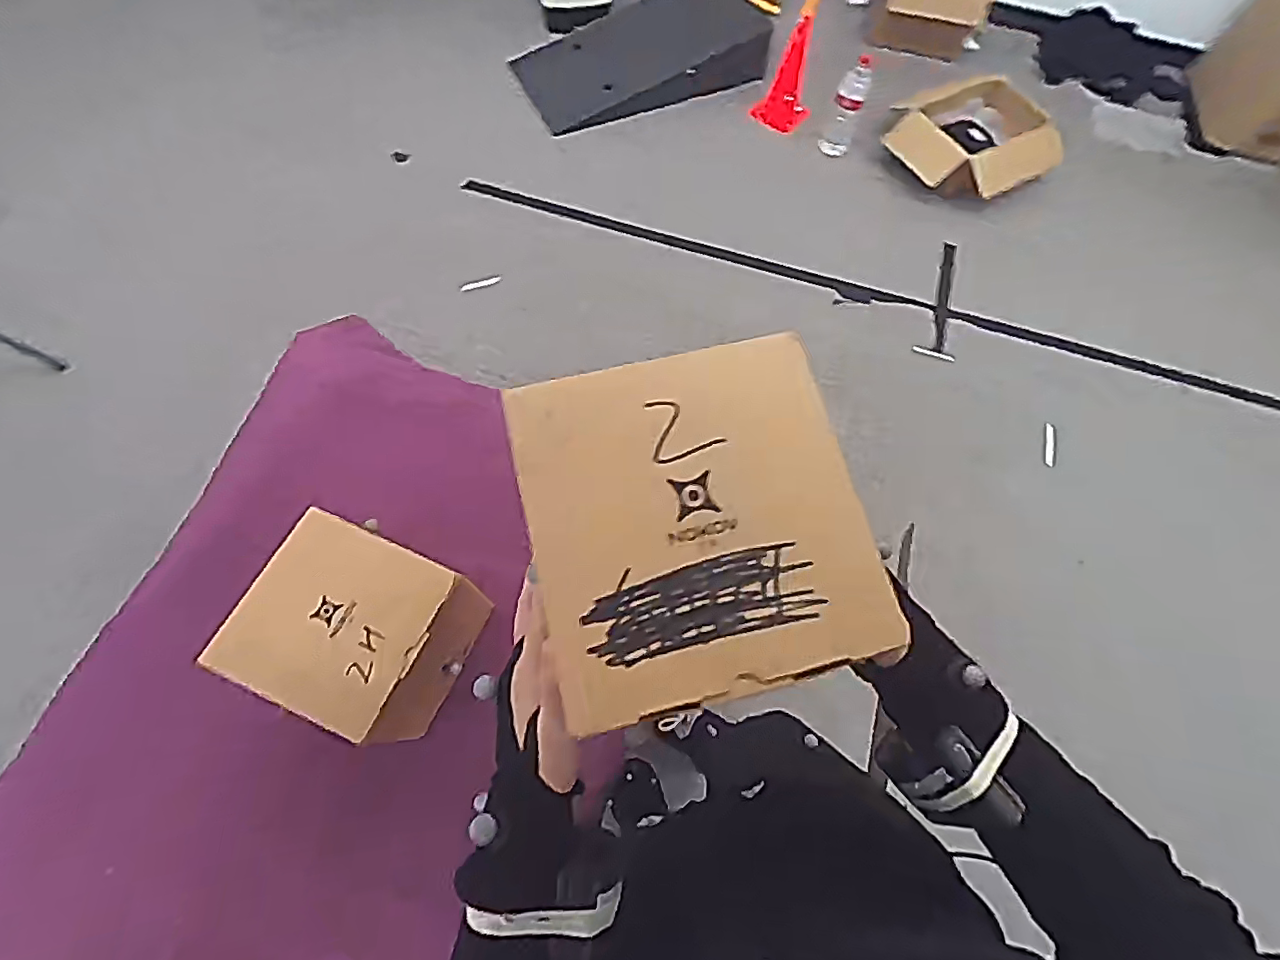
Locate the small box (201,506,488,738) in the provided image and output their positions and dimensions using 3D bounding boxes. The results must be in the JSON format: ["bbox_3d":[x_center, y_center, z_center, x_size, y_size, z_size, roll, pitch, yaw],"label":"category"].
[{"bbox_3d":[-0.291,0.157,0.579,0.179,0.176,0.168,23,68,6],"label":"small box"}]
